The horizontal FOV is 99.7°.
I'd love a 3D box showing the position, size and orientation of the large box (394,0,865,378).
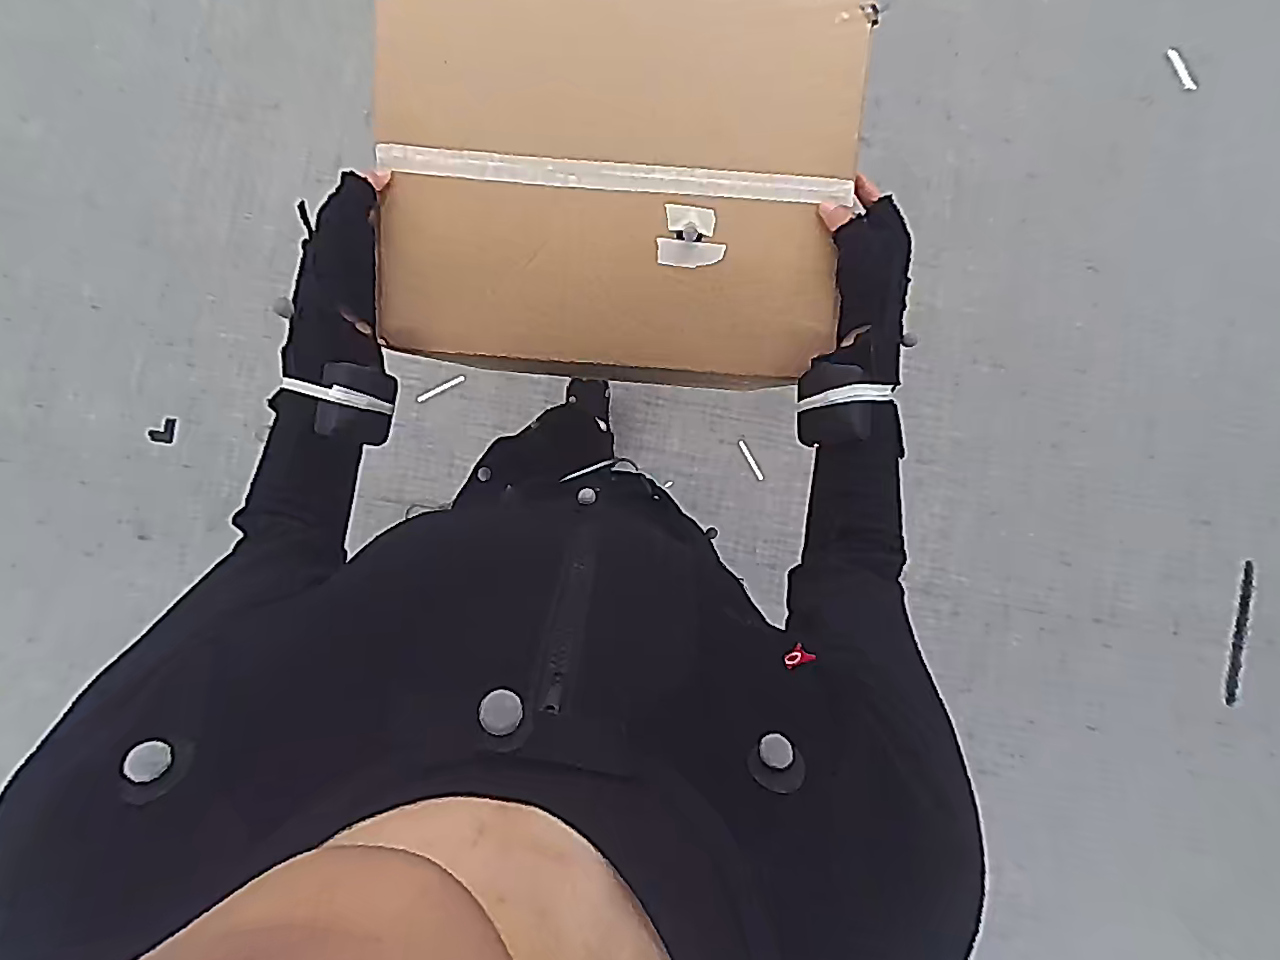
[{"bbox_3d":[-0.020,-0.291,0.621,0.408,0.320,0.320,4,99,-2],"label":"large box"}]
